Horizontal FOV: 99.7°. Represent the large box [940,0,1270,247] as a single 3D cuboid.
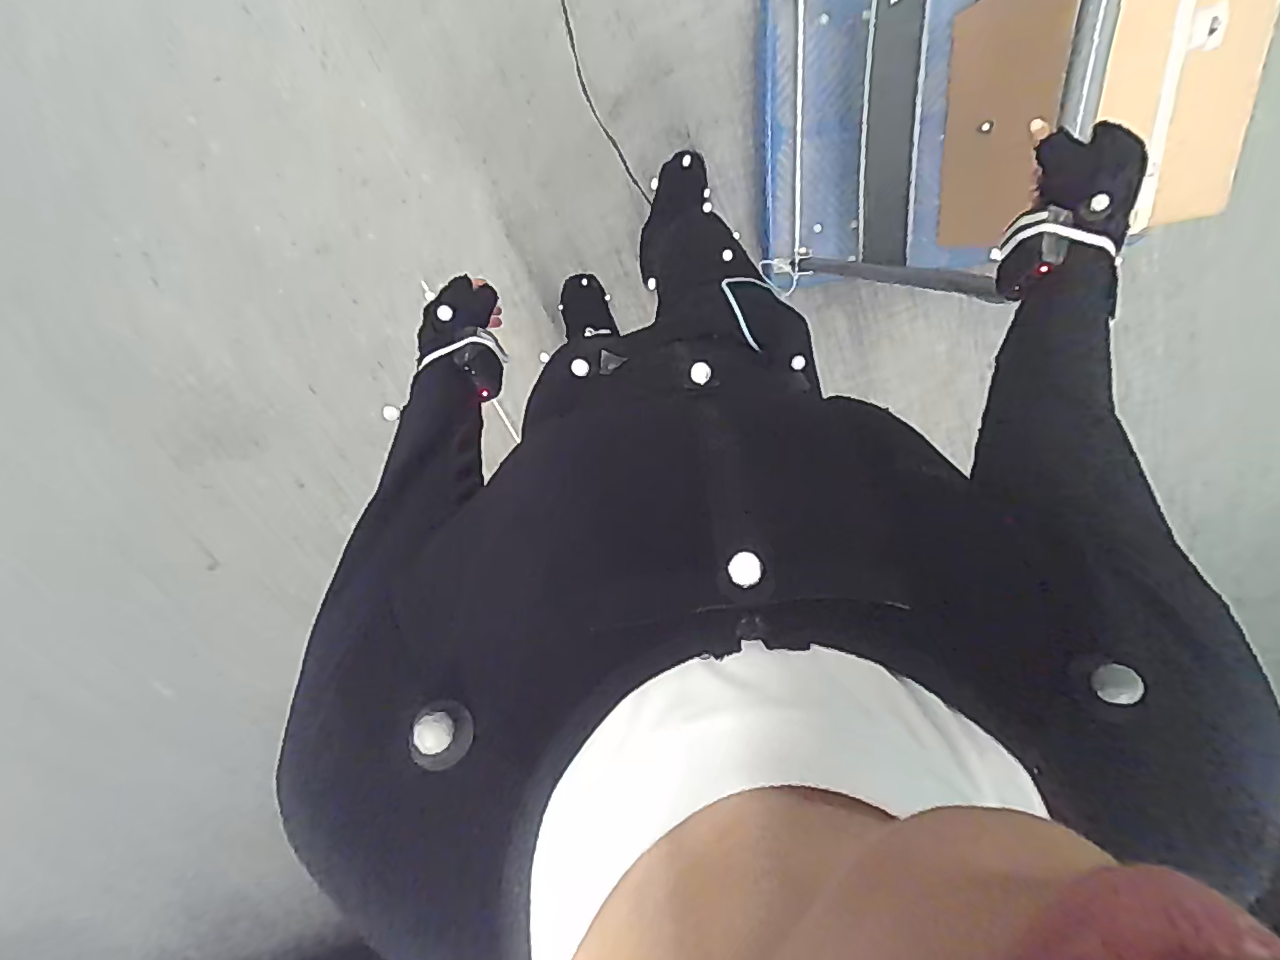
[{"bbox_3d":[0.774,-0.656,0.958,0.320,0.320,0.408,-11,114,-1],"label":"large box"}]
